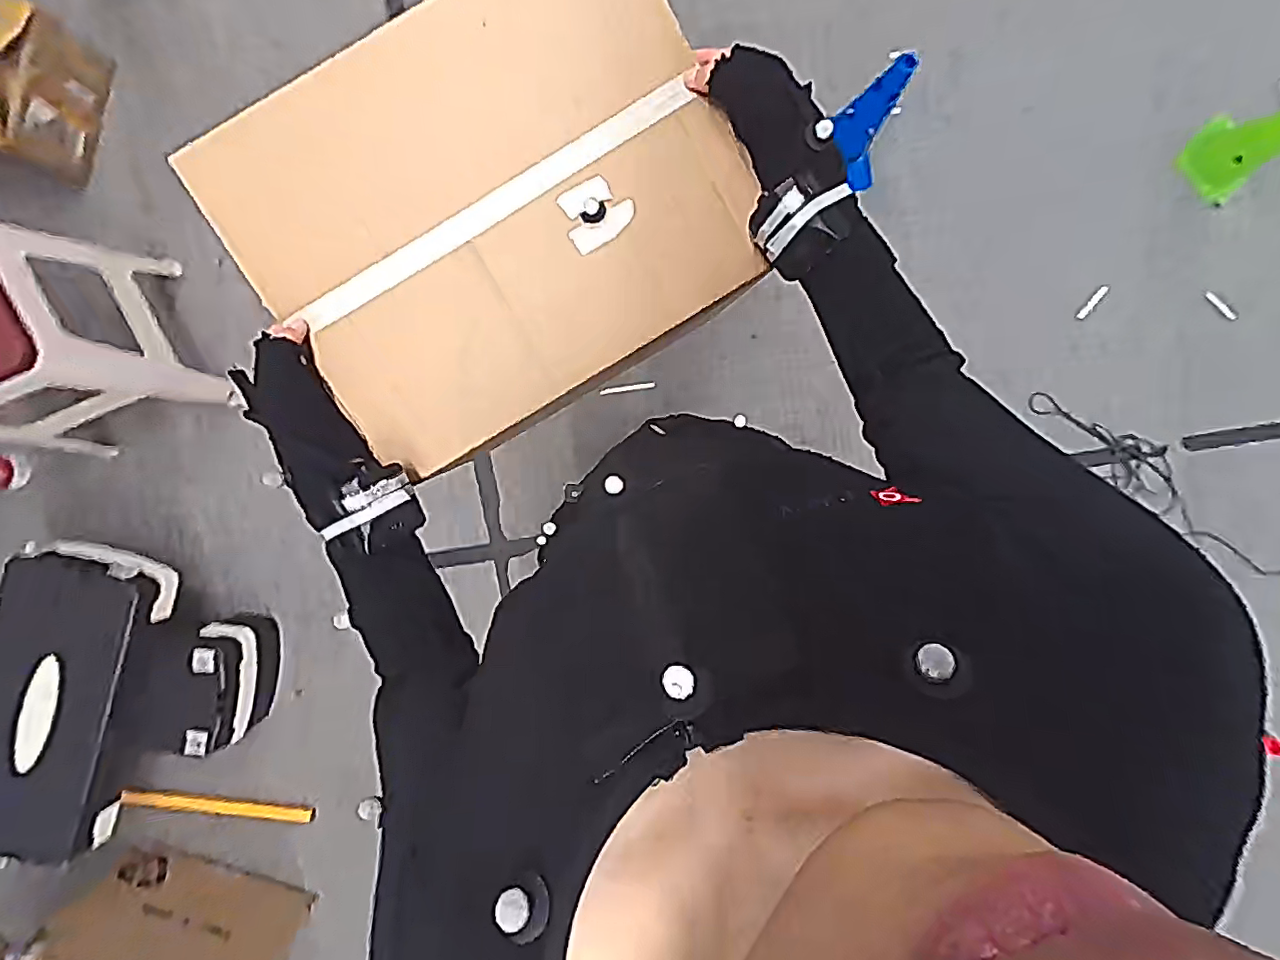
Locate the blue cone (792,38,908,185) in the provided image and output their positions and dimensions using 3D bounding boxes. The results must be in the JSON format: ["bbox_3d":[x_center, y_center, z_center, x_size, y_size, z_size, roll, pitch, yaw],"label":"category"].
[{"bbox_3d":[0.523,-0.889,1.296,0.193,0.380,0.192,-6,93,-4],"label":"blue cone"}]

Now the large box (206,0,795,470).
[{"bbox_3d":[-0.118,-0.252,0.599,0.408,0.320,0.320,-30,99,0],"label":"large box"}]

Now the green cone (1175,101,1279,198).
[{"bbox_3d":[1.653,-0.925,1.362,0.202,0.368,0.200,43,89,-4],"label":"green cone"}]

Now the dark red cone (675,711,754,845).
[{"bbox_3d":[0.213,0.752,1.341,0.202,0.394,0.201,-4,93,-4],"label":"dark red cone"}]
